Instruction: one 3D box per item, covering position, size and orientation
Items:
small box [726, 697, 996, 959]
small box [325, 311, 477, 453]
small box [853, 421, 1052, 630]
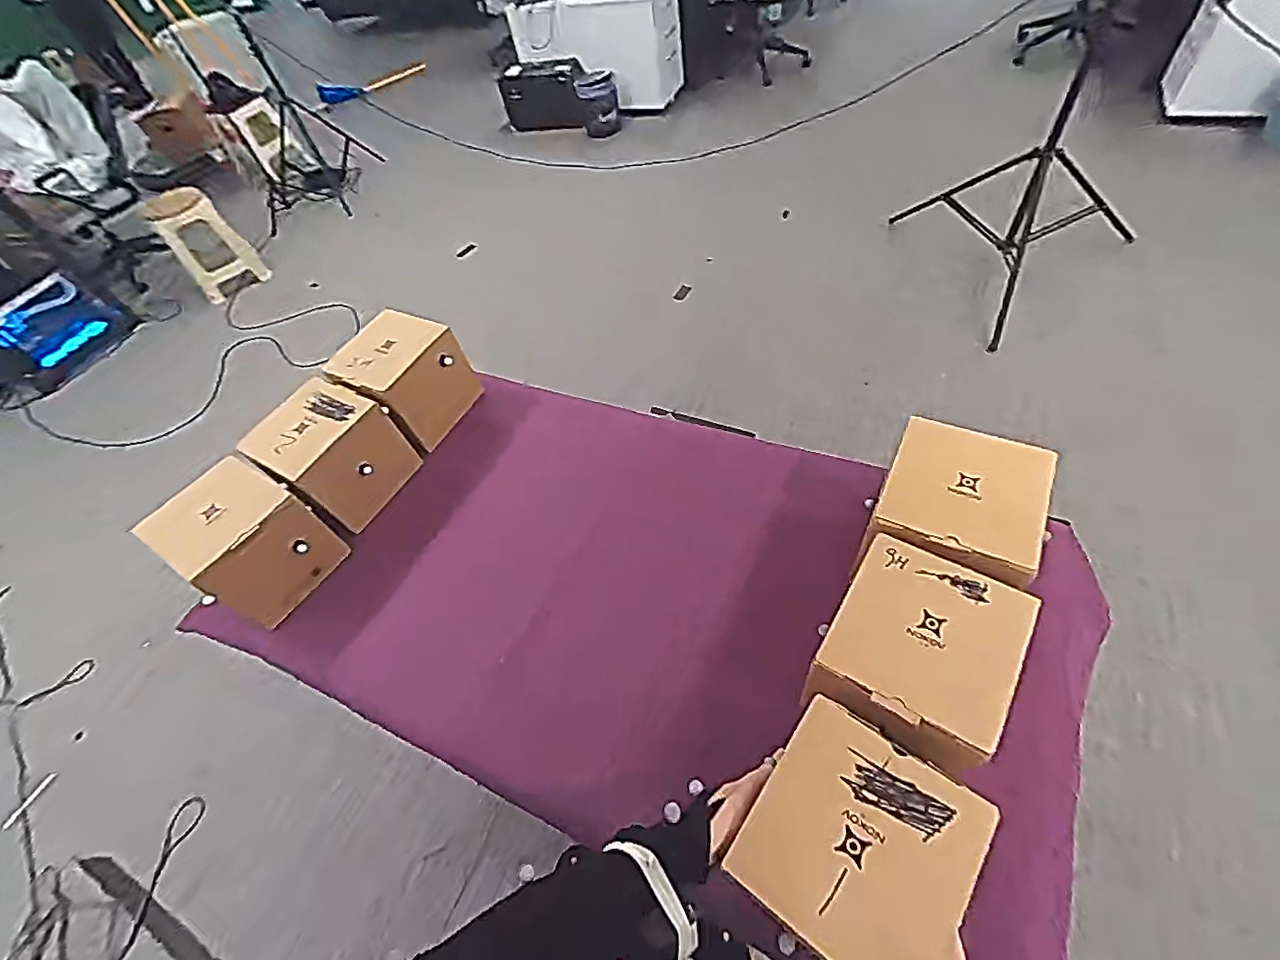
[{"bbox_3d":[0.196,0.350,0.517,0.168,0.176,0.179,28,63,29],"label":"small box"},{"bbox_3d":[-0.435,-0.184,1.021,0.168,0.176,0.179,20,61,23],"label":"small box"},{"bbox_3d":[0.389,0.060,0.695,0.168,0.176,0.179,20,59,22],"label":"small box"}]
